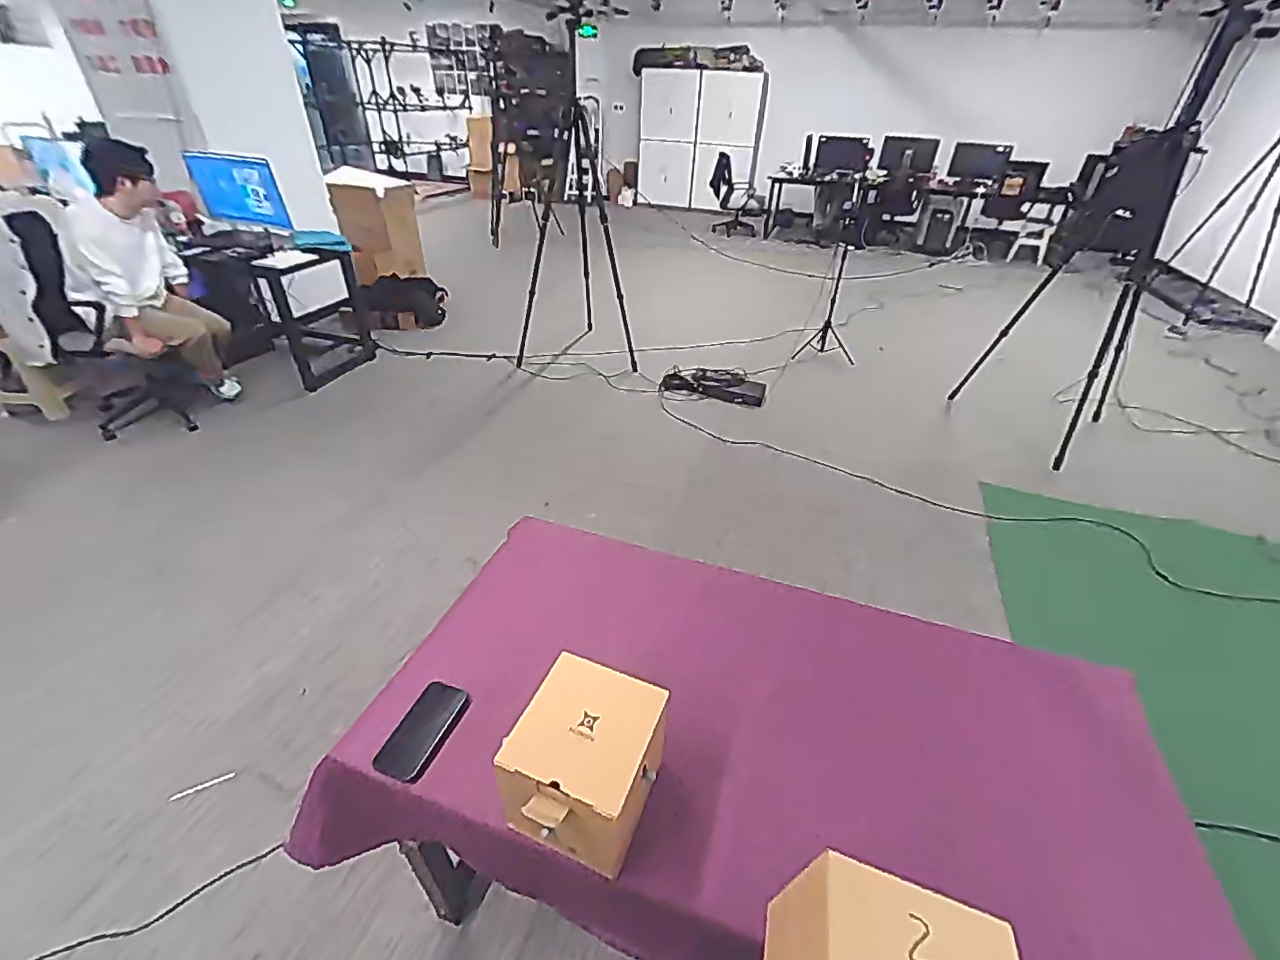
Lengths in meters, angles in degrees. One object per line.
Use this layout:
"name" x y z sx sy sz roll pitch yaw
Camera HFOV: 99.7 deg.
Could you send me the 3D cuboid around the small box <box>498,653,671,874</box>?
"small box" -0.071 0.377 0.732 0.168 0.176 0.179 16 37 17
